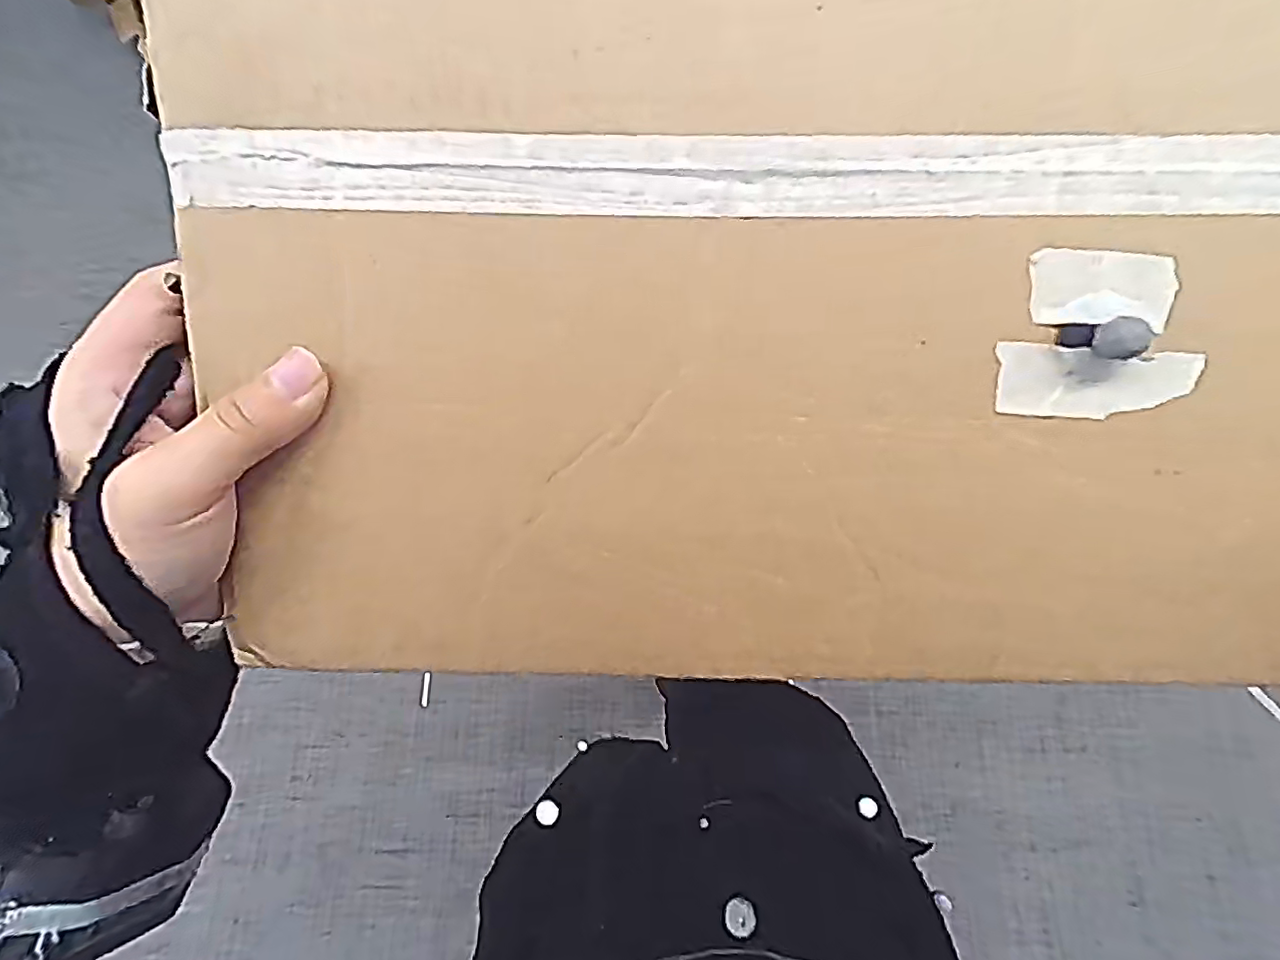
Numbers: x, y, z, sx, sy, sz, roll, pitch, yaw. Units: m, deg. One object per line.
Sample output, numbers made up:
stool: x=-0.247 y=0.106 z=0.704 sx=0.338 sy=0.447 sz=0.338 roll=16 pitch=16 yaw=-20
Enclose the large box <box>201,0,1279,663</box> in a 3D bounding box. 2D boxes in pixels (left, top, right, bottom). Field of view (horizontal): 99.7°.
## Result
large box: x=0.065 y=-0.112 z=0.315 sx=0.408 sy=0.320 sz=0.320 roll=0 pitch=100 yaw=-1
